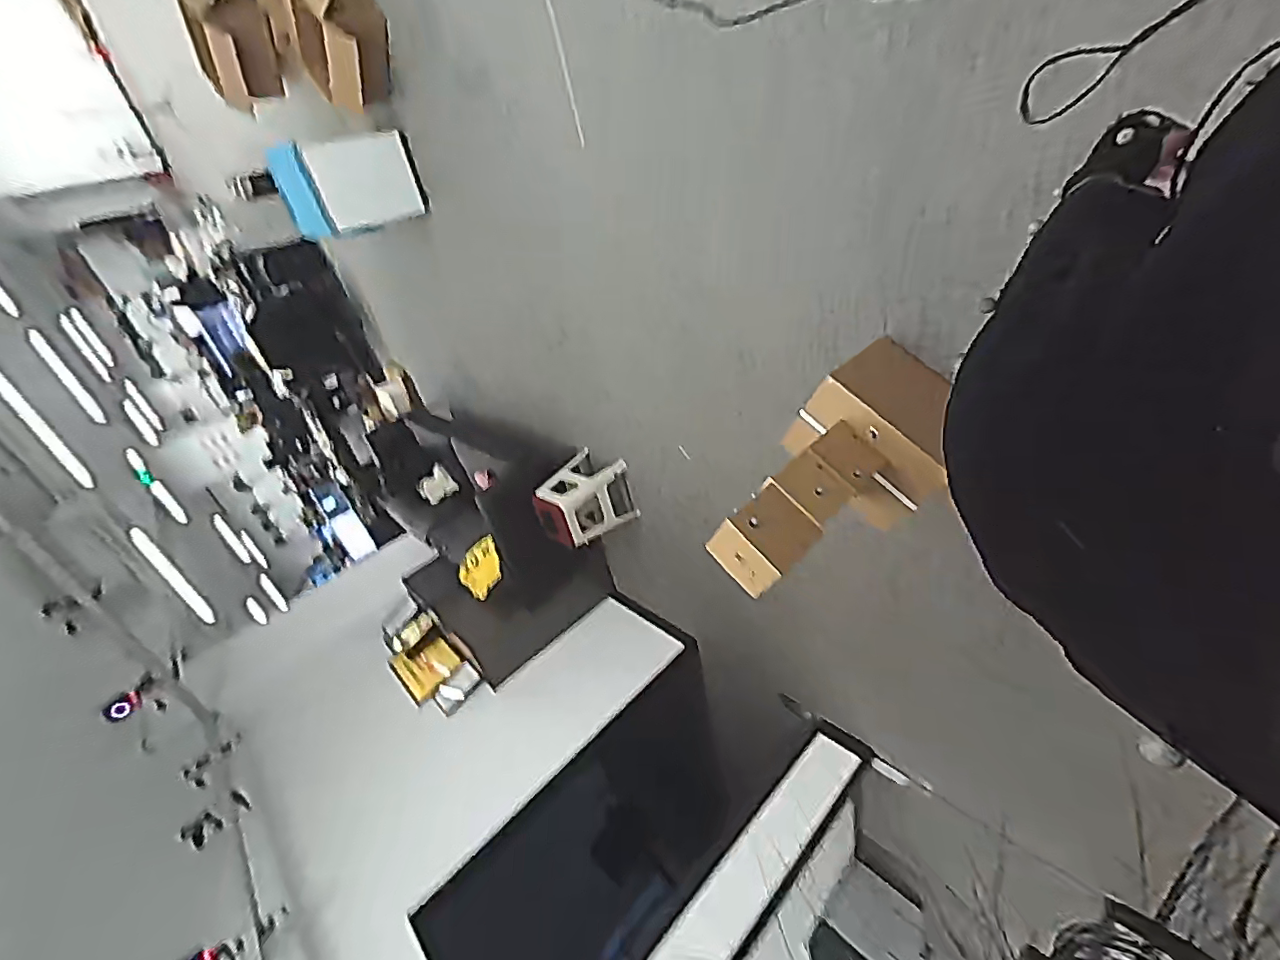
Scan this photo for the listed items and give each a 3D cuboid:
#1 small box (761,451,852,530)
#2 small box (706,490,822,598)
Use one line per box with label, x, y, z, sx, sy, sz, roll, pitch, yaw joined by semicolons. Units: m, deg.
small box;0.409;0.056;1.380;0.168;0.176;0.179;46;150;17
small box;0.297;0.146;1.300;0.179;0.176;0.168;47;150;15
